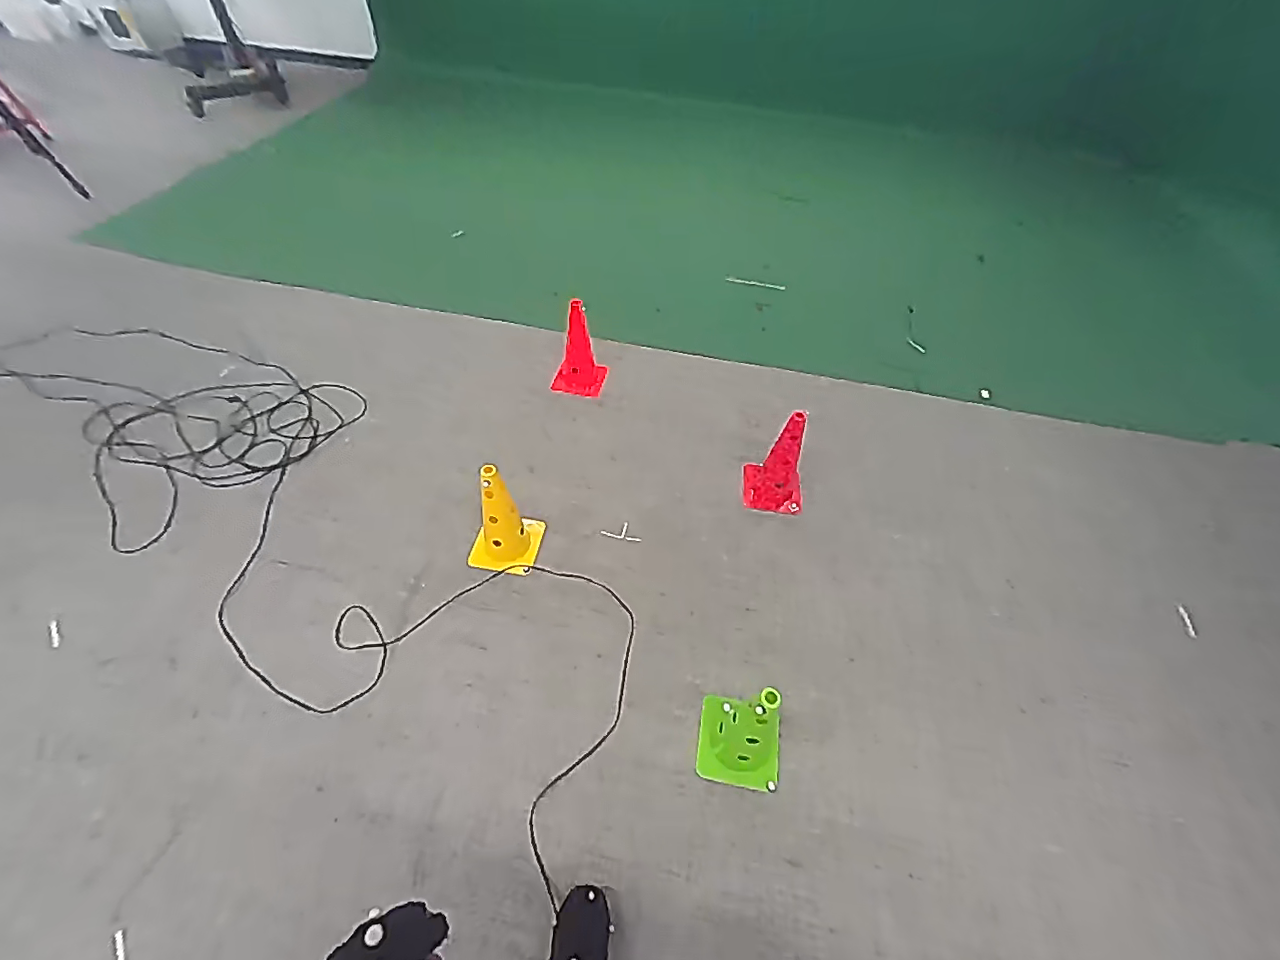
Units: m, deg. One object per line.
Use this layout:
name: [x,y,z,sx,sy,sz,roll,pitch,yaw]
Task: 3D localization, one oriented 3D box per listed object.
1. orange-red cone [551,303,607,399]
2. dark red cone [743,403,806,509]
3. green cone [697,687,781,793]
orange-red cone: [-0.242,-0.515,2.084,0.198,0.360,0.199,11,52,7]
dark red cone: [0.466,-0.089,1.743,0.202,0.394,0.201,7,49,2]
green cone: [0.256,0.552,1.230,0.202,0.368,0.200,9,50,6]
